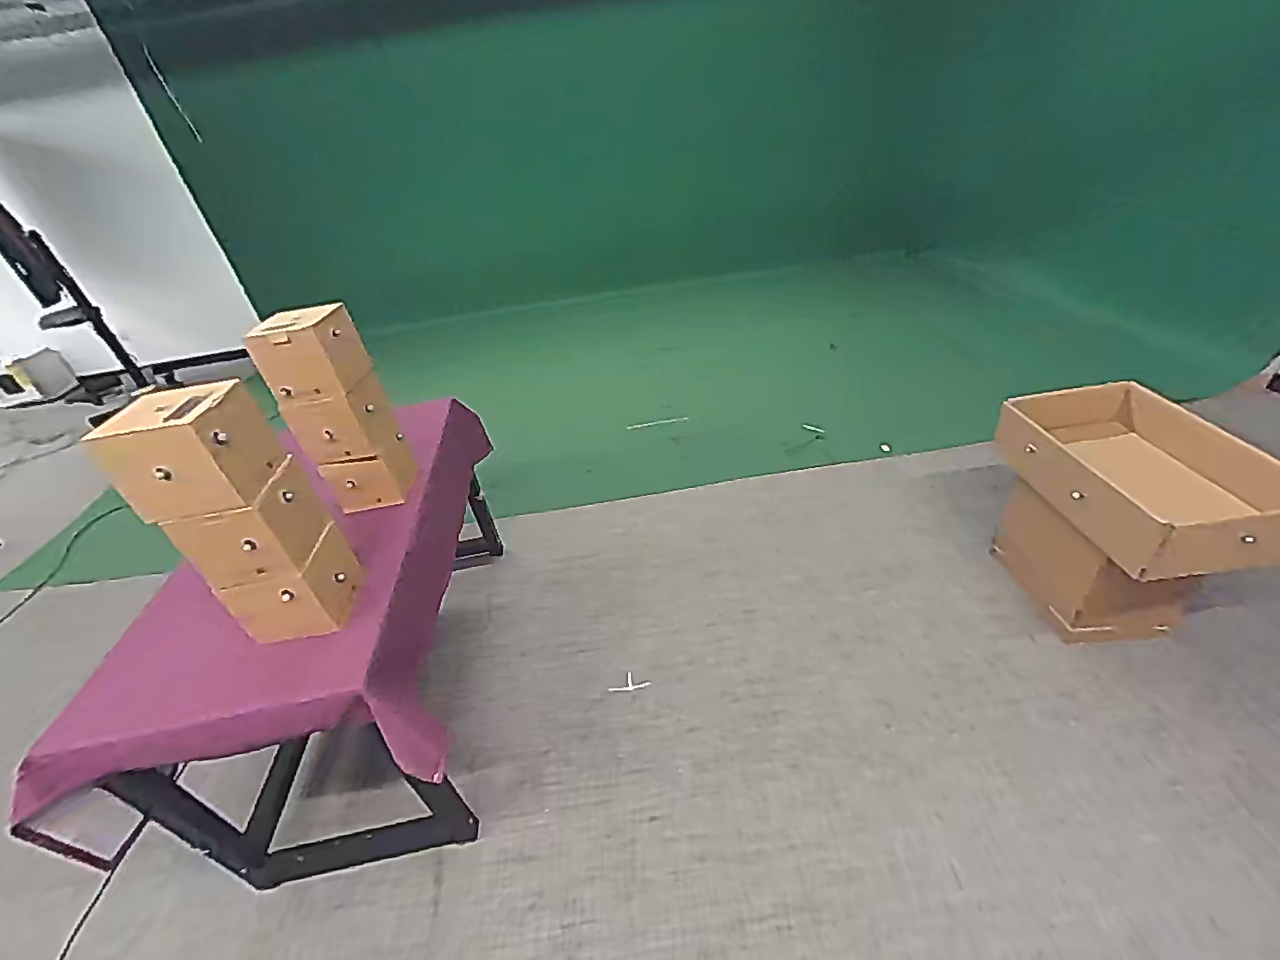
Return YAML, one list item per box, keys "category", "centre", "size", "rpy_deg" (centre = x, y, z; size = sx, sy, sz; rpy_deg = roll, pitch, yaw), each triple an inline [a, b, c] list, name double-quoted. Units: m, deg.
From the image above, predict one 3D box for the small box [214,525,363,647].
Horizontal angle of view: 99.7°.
- category: "small box"
  centre: [-0.711, 0.221, 1.122]
  size: [0.179, 0.176, 0.168]
  rpy_deg: [-10, 35, 0]

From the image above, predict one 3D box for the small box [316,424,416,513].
- category: "small box"
  centre: [-0.732, -0.025, 1.471]
  size: [0.168, 0.176, 0.179]
  rpy_deg: [-11, 35, -1]

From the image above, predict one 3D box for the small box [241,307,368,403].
- category: "small box"
  centre: [-0.779, -0.291, 1.283]
  size: [0.168, 0.176, 0.179]
  rpy_deg: [-9, 34, 3]

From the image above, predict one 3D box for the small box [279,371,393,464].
- category: "small box"
  centre: [-0.756, -0.153, 1.371]
  size: [0.168, 0.176, 0.179]
  rpy_deg: [-8, 36, 2]

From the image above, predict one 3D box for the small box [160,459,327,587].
- category: "small box"
  centre: [-0.735, 0.087, 1.032]
  size: [0.168, 0.176, 0.179]
  rpy_deg: [-10, 35, -1]
